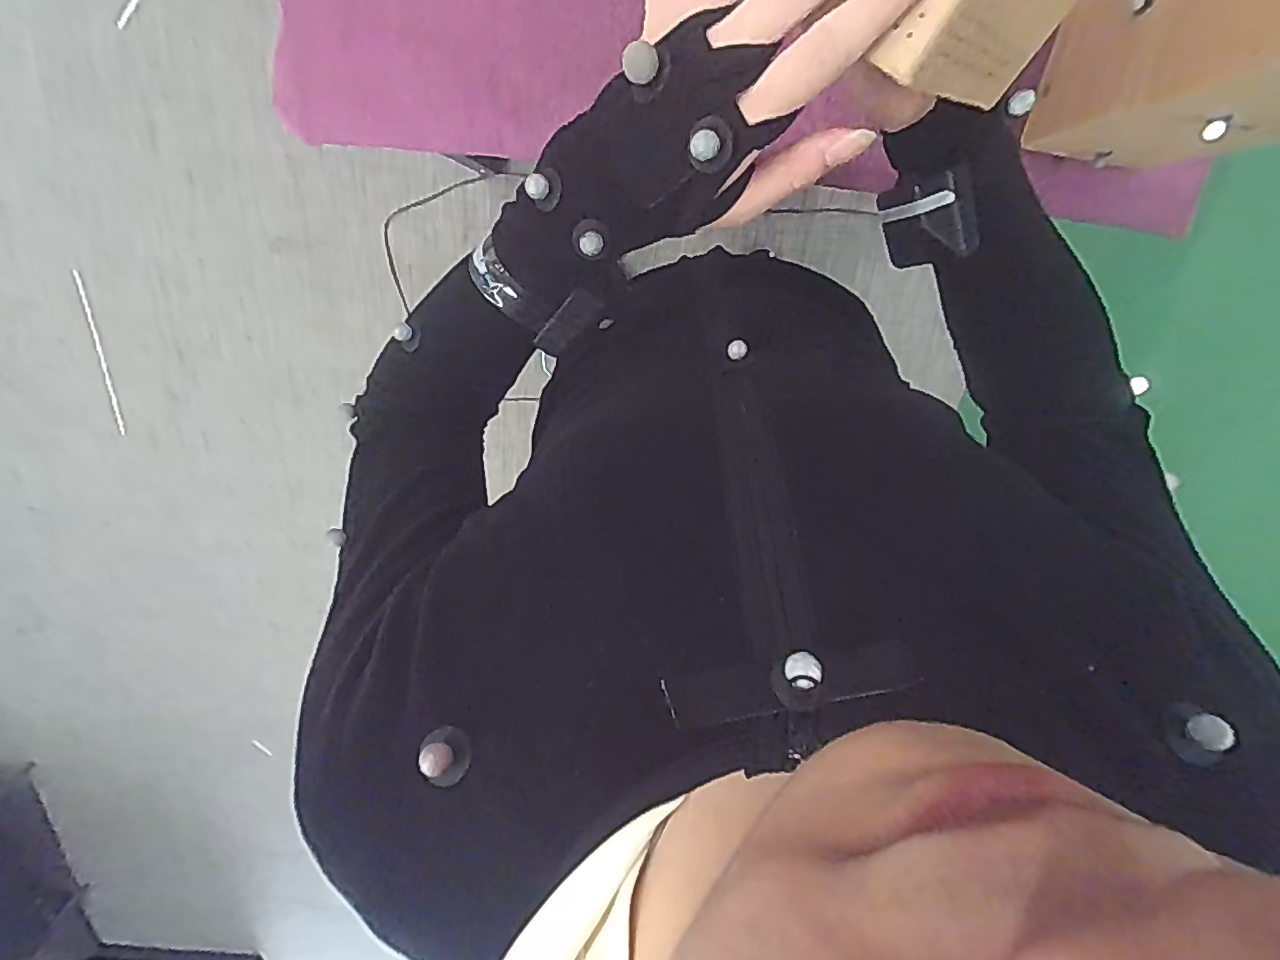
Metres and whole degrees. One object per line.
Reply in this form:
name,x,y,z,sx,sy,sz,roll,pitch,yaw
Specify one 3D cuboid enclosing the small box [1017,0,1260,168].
small box,0.588,-0.469,0.612,0.179,0.176,0.168,9,110,-2
